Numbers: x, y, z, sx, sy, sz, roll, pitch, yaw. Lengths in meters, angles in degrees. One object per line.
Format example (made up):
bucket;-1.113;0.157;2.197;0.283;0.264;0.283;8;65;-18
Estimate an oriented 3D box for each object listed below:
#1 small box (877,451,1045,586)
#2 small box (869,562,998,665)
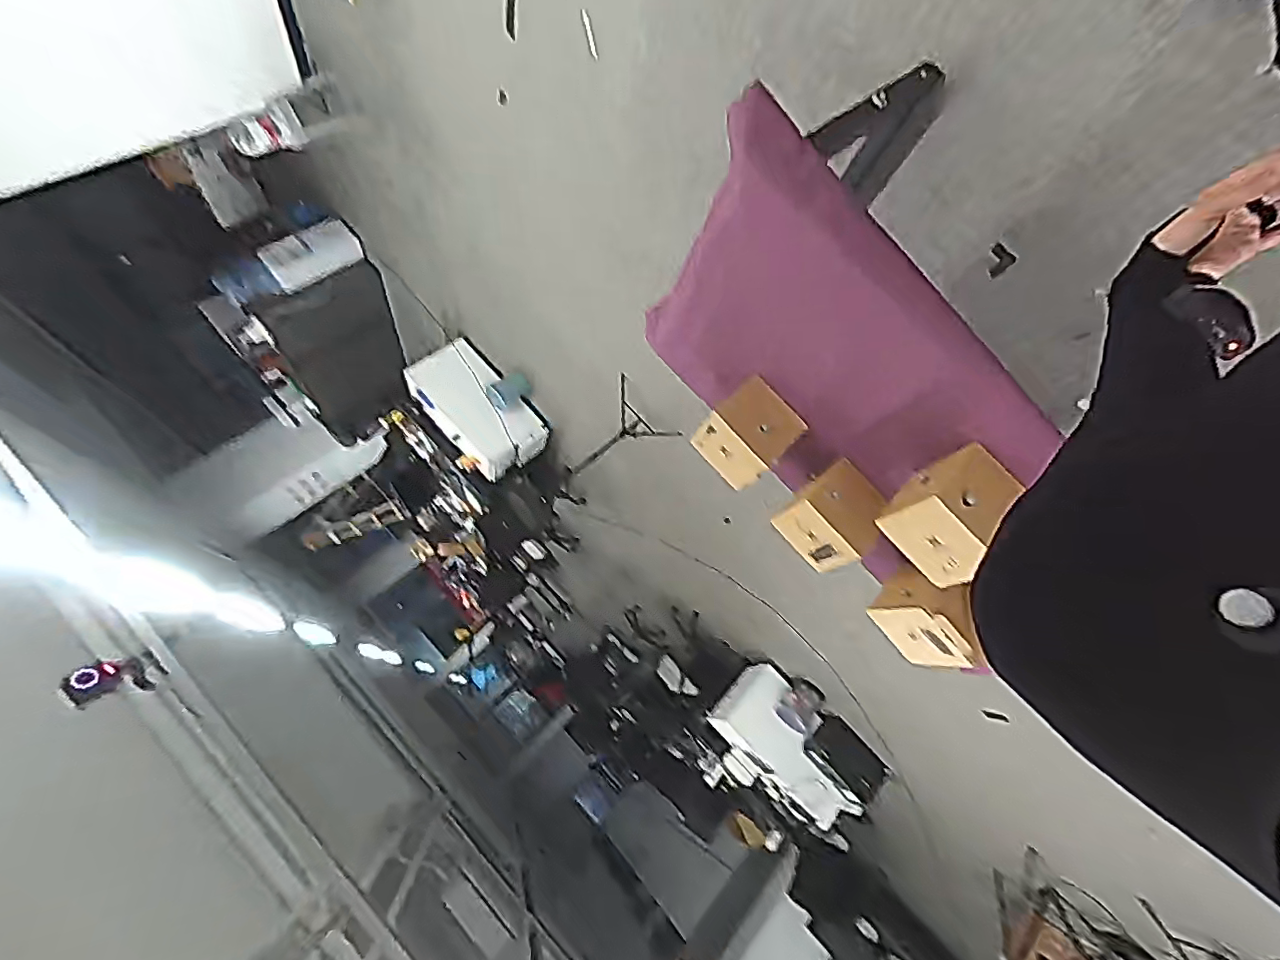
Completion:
small box;0.595;0.067;1.009;0.179;0.176;0.168;46;156;5
small box;0.668;0.293;1.221;0.168;0.176;0.179;50;156;0
